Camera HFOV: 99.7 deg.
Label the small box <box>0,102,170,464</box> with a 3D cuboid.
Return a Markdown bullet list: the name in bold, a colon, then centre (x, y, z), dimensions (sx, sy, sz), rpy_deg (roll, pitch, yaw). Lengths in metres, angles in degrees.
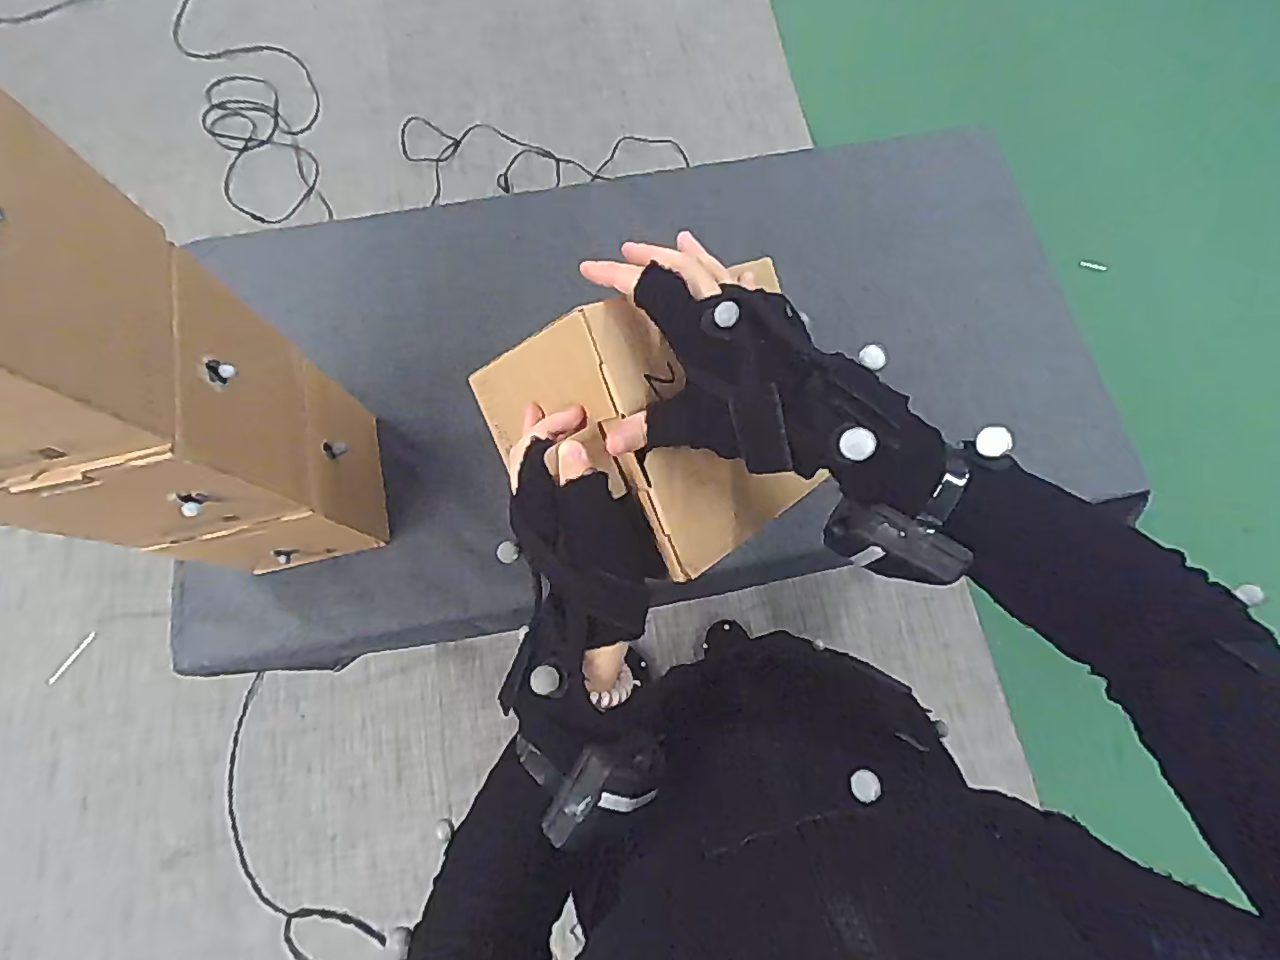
- **small box**: centre (-0.406, -0.111, 0.297), dimensions (0.168, 0.176, 0.179), rpy_deg (-13, 74, -5)

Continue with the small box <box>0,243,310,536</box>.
- **small box**: centre (-0.405, -0.058, 0.452), dimensions (0.168, 0.176, 0.179), rpy_deg (-12, 74, -4)

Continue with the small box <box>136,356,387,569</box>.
- **small box**: centre (-0.406, -0.010, 0.608), dimensions (0.168, 0.176, 0.179), rpy_deg (-13, 74, -4)

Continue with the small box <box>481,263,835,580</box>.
- **small box**: centre (0.011, -0.043, 0.408), dimensions (0.179, 0.176, 0.168), rpy_deg (-27, 102, -35)
